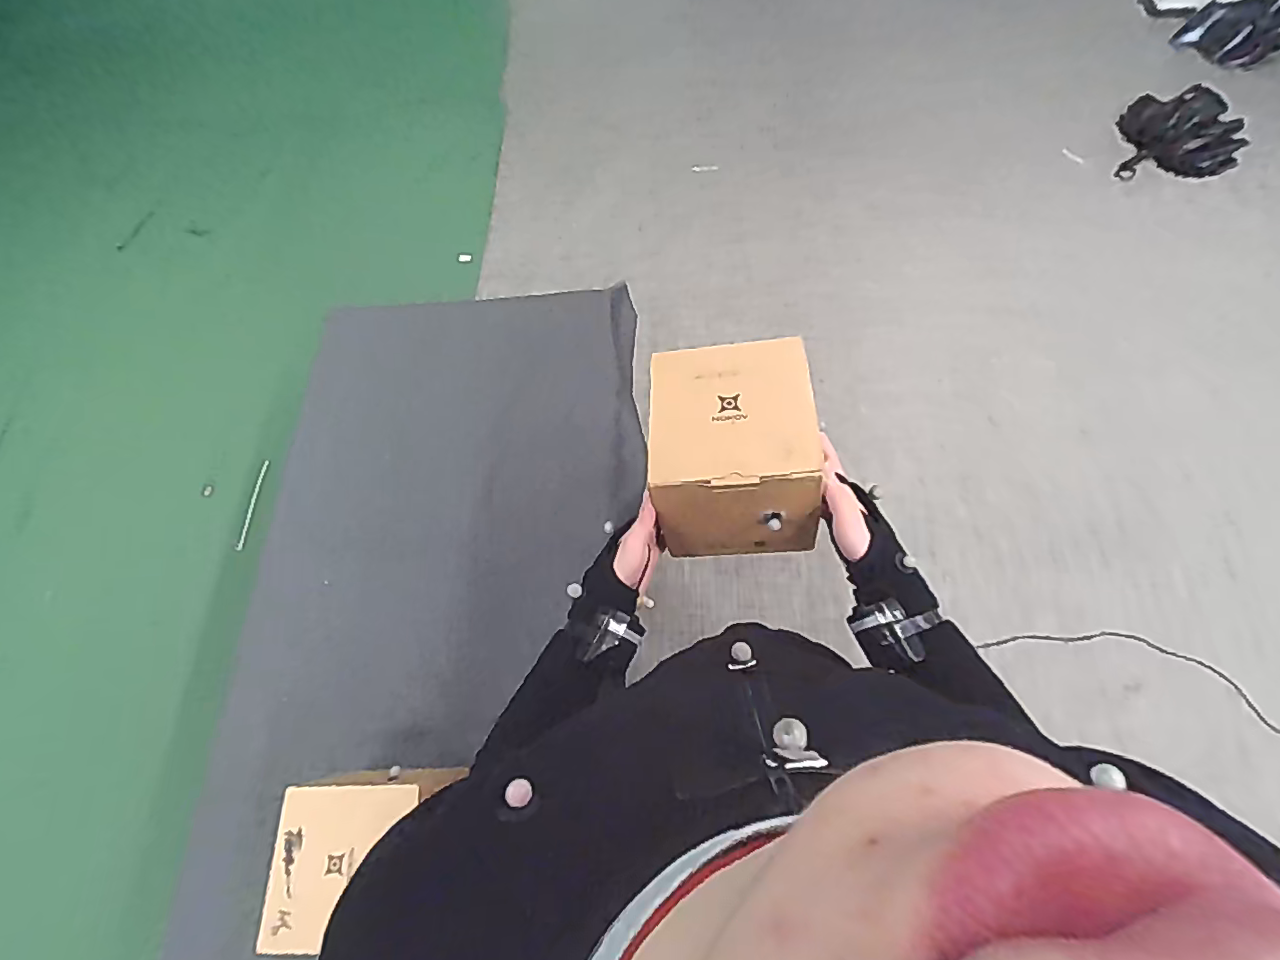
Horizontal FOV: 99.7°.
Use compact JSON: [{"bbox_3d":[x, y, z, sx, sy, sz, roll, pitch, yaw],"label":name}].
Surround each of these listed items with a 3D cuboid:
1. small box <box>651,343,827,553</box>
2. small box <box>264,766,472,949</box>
[{"bbox_3d":[0.108,-0.025,0.609,0.168,0.176,0.179,-4,56,9],"label":"small box"},{"bbox_3d":[-0.334,0.476,0.706,0.179,0.176,0.168,-3,67,3],"label":"small box"}]
